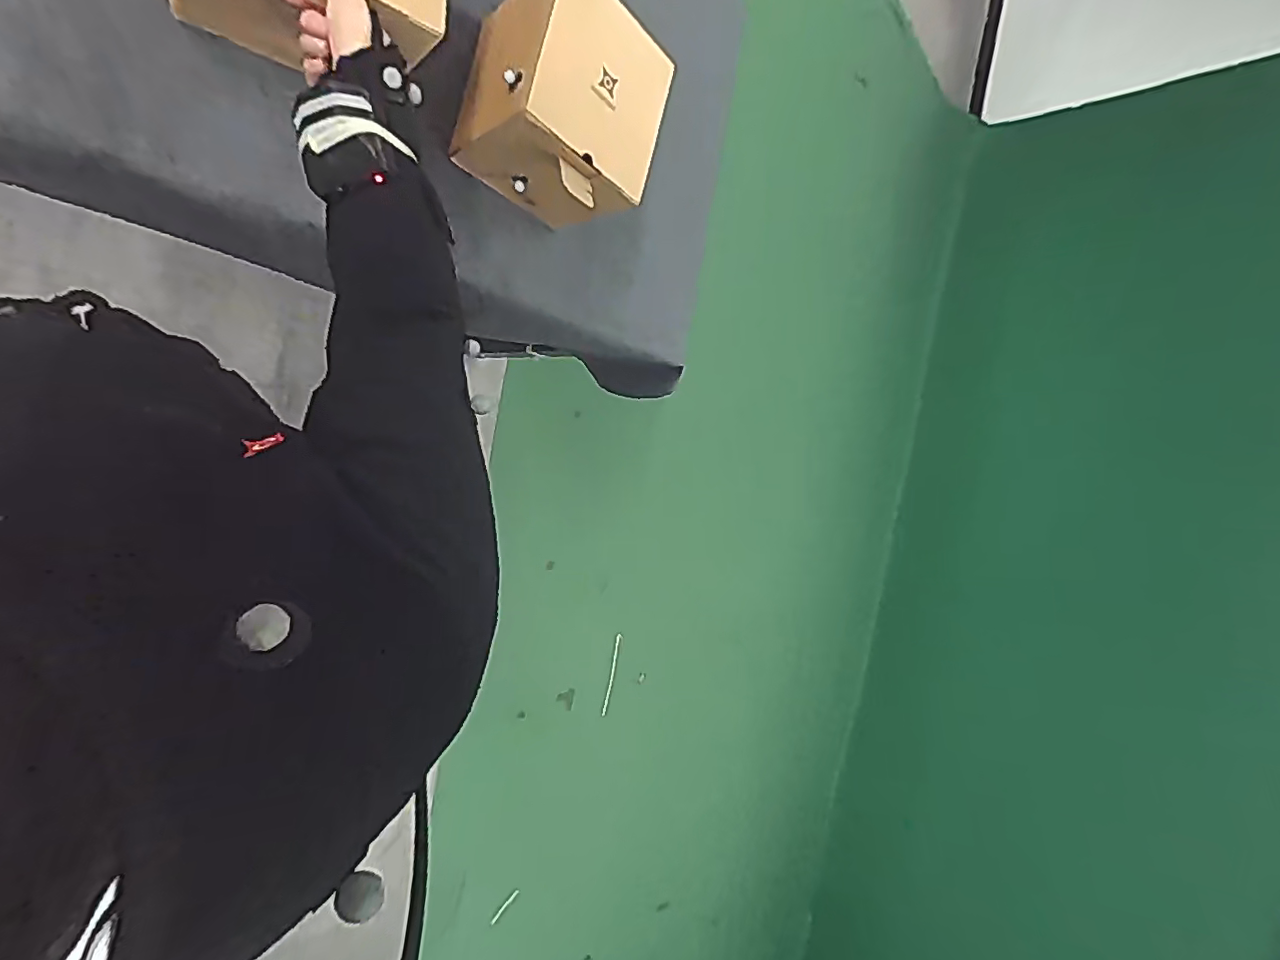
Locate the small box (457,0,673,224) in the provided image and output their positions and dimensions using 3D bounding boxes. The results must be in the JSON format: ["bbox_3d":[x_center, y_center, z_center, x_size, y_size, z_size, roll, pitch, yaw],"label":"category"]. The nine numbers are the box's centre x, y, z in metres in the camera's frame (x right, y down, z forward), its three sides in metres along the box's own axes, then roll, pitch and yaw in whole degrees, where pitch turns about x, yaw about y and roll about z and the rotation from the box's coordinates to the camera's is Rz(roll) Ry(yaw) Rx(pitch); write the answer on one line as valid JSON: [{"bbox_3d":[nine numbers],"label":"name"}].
[{"bbox_3d":[-0.091,-0.434,0.636,0.168,0.176,0.179,16,88,-46],"label":"small box"}]
